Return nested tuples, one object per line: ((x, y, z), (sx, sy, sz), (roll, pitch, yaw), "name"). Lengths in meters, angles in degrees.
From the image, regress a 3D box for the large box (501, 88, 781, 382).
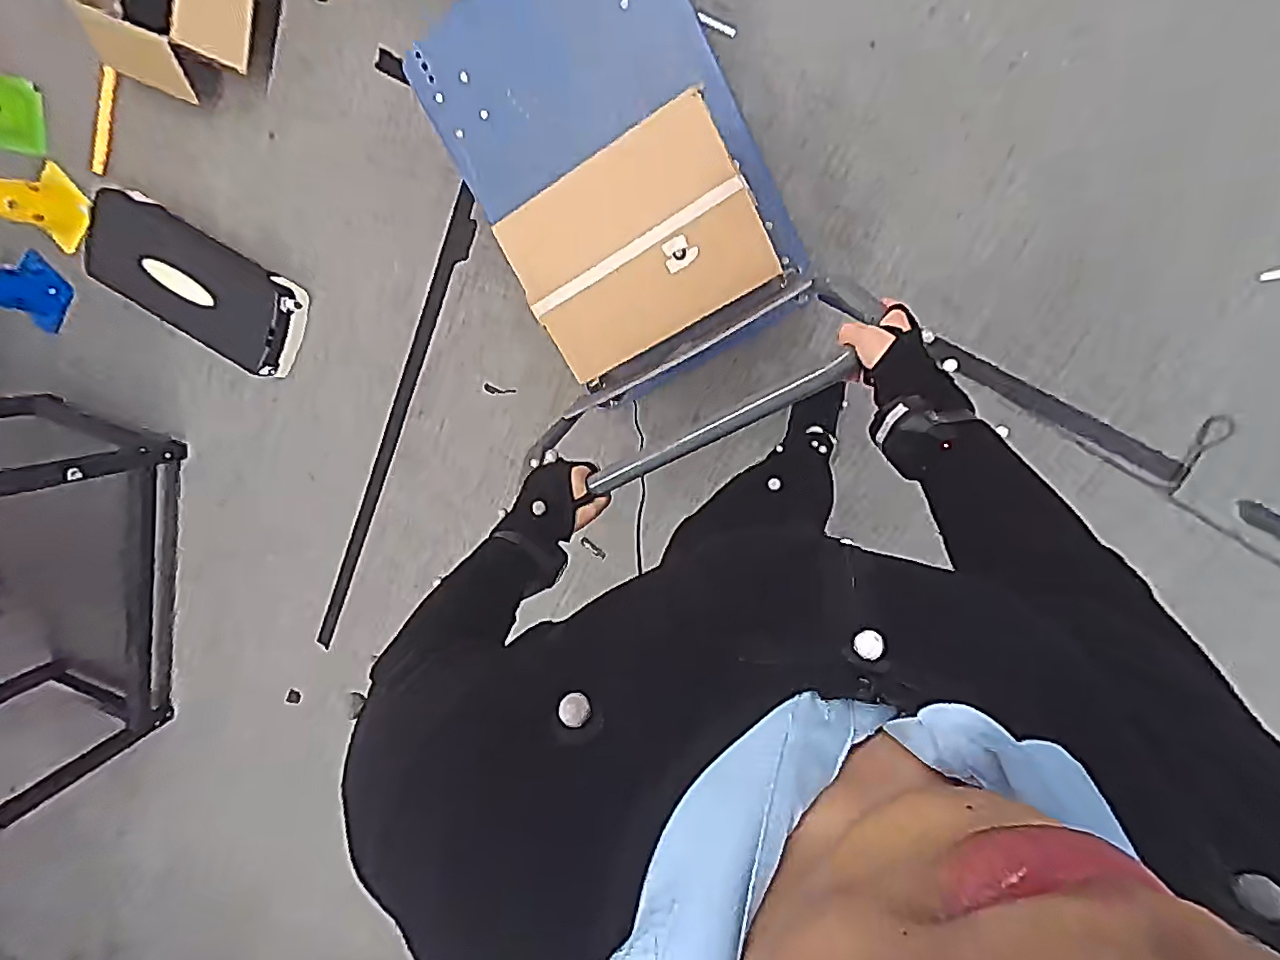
((0.016, -0.437, 1.061), (0.408, 0.320, 0.320), (-27, 102, 16), "large box")
